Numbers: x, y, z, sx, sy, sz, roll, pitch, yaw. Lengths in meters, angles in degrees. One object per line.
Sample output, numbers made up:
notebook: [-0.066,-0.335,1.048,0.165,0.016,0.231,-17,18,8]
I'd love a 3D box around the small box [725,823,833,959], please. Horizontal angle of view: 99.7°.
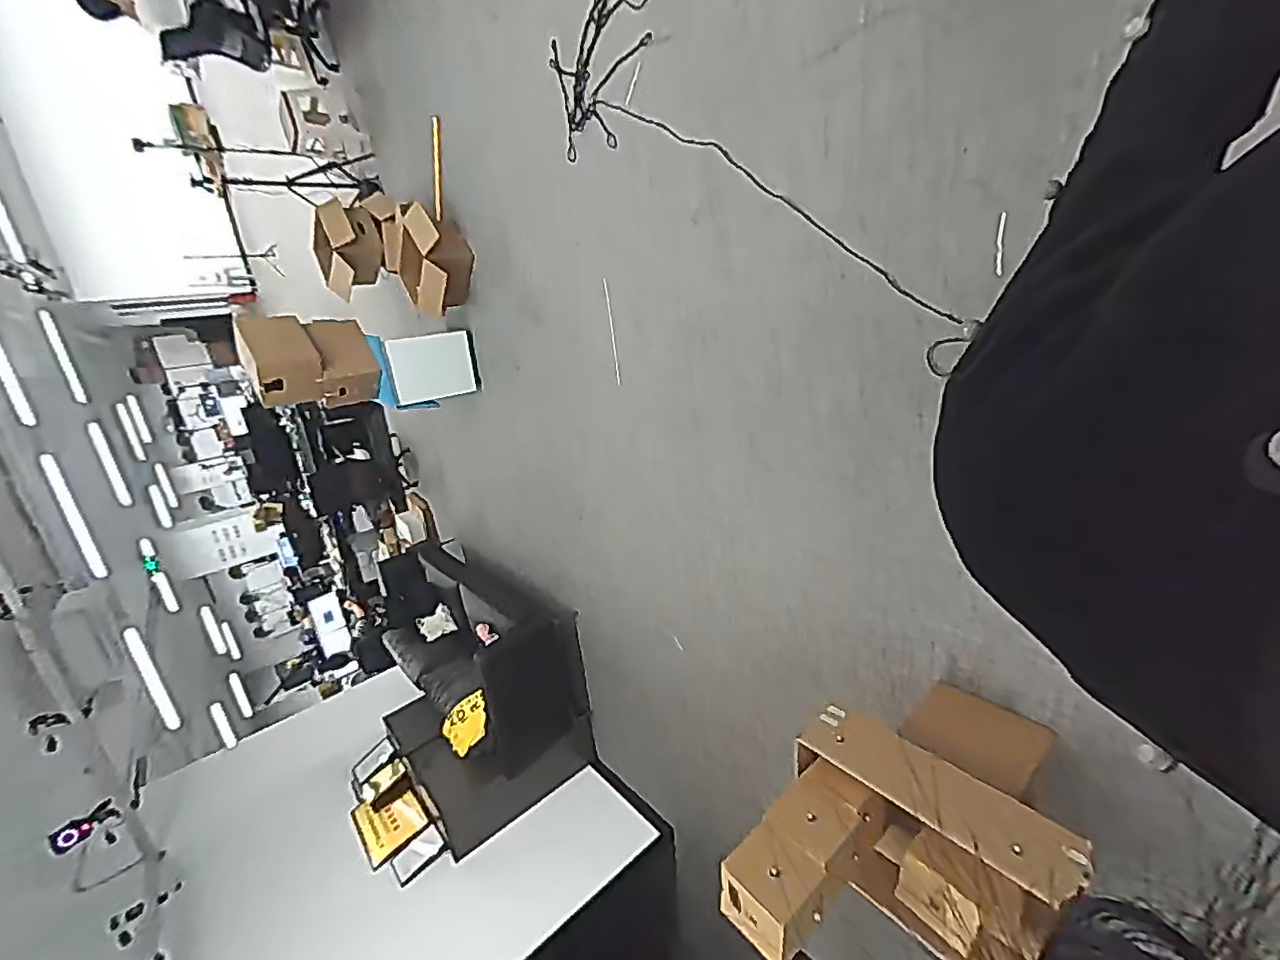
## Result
small box: [0.319,0.944,1.256,0.179,0.176,0.168,21,122,46]
